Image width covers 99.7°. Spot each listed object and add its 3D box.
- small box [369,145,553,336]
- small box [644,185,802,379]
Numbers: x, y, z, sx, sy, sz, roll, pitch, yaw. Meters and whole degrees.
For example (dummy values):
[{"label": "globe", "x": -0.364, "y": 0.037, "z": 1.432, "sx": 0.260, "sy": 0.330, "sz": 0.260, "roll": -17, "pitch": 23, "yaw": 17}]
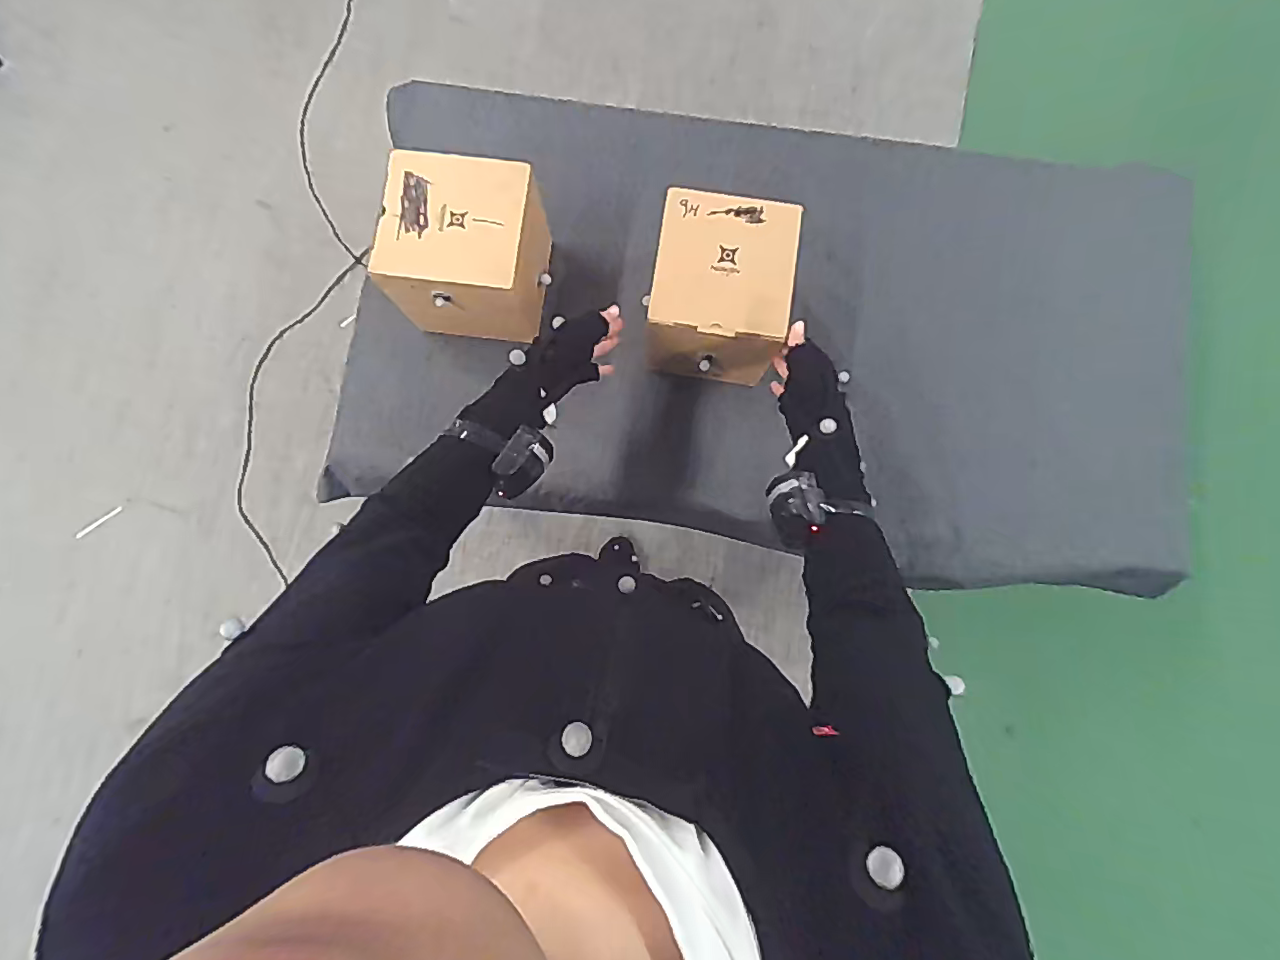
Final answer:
[{"label": "small box", "x": -0.225, "y": -0.307, "z": 0.725, "sx": 0.179, "sy": 0.176, "sz": 0.168, "roll": 7, "pitch": 83, "yaw": 0}, {"label": "small box", "x": 0.101, "y": -0.248, "z": 0.718, "sx": 0.168, "sy": 0.176, "sz": 0.179, "roll": 10, "pitch": 83, "yaw": 1}]
